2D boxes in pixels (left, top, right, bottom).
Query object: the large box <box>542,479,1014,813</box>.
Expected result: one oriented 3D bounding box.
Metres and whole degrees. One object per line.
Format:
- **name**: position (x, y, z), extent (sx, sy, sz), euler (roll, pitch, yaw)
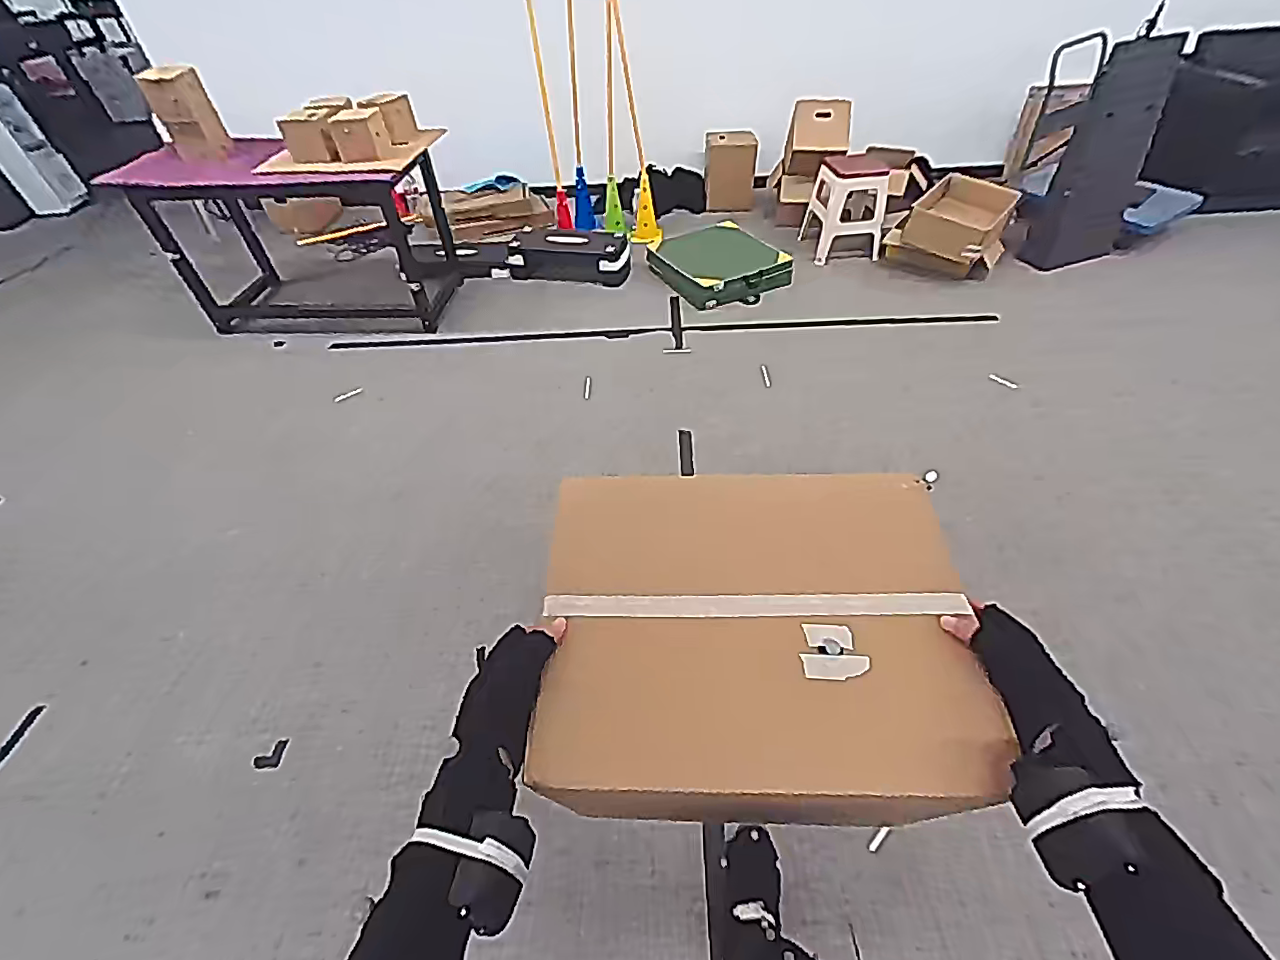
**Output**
- **large box**: position (0.120, 0.213, 0.658), extent (0.408, 0.320, 0.320), euler (0, 55, 3)
